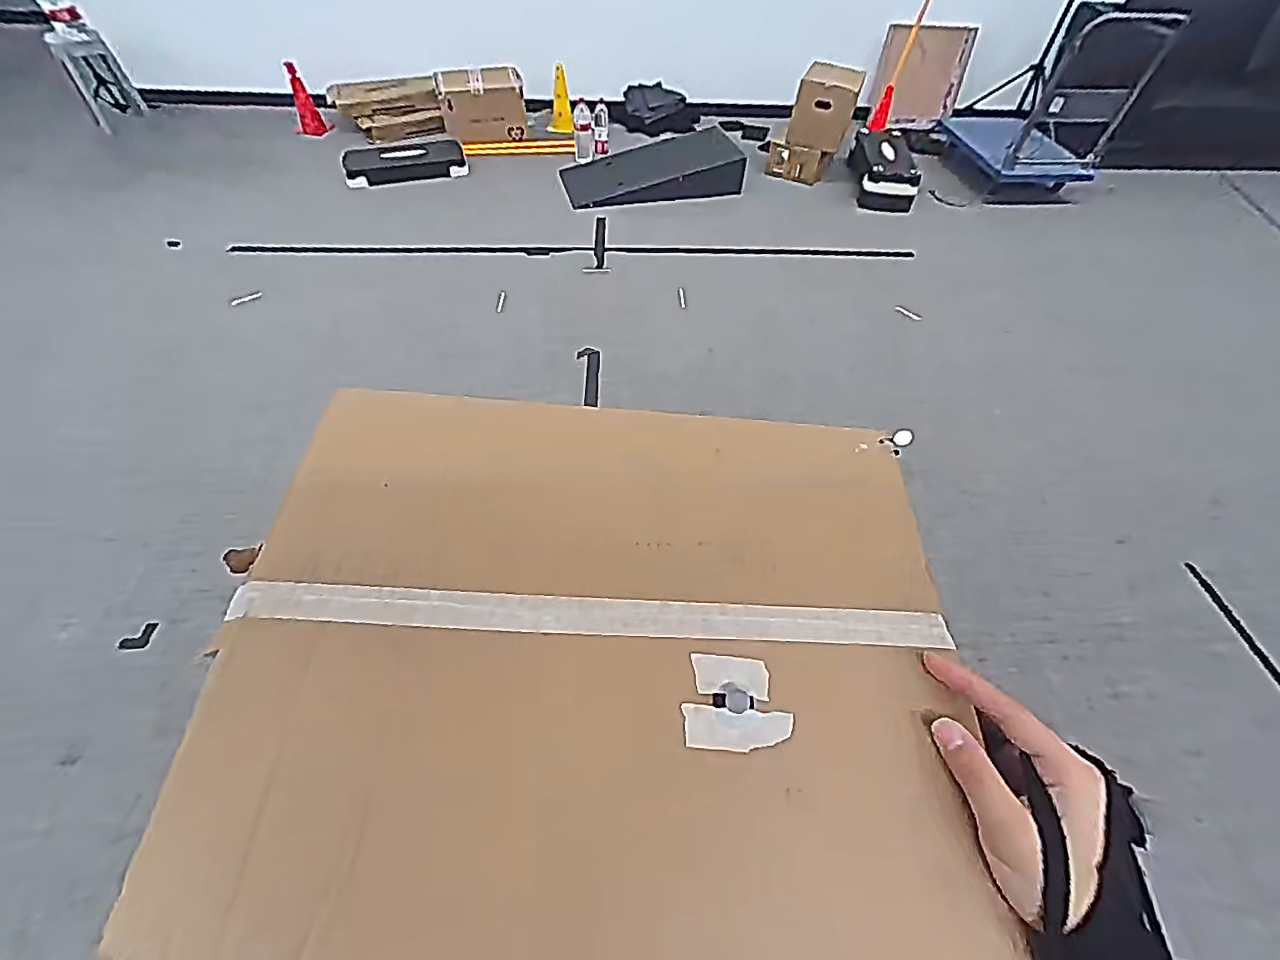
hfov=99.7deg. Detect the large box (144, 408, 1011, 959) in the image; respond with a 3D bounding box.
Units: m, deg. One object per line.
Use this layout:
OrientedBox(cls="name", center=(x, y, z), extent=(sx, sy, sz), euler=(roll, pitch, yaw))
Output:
OrientedBox(cls="large box", center=(-0.031, 0.167, 0.449), extent=(0.408, 0.320, 0.320), euler=(4, 58, -5))
